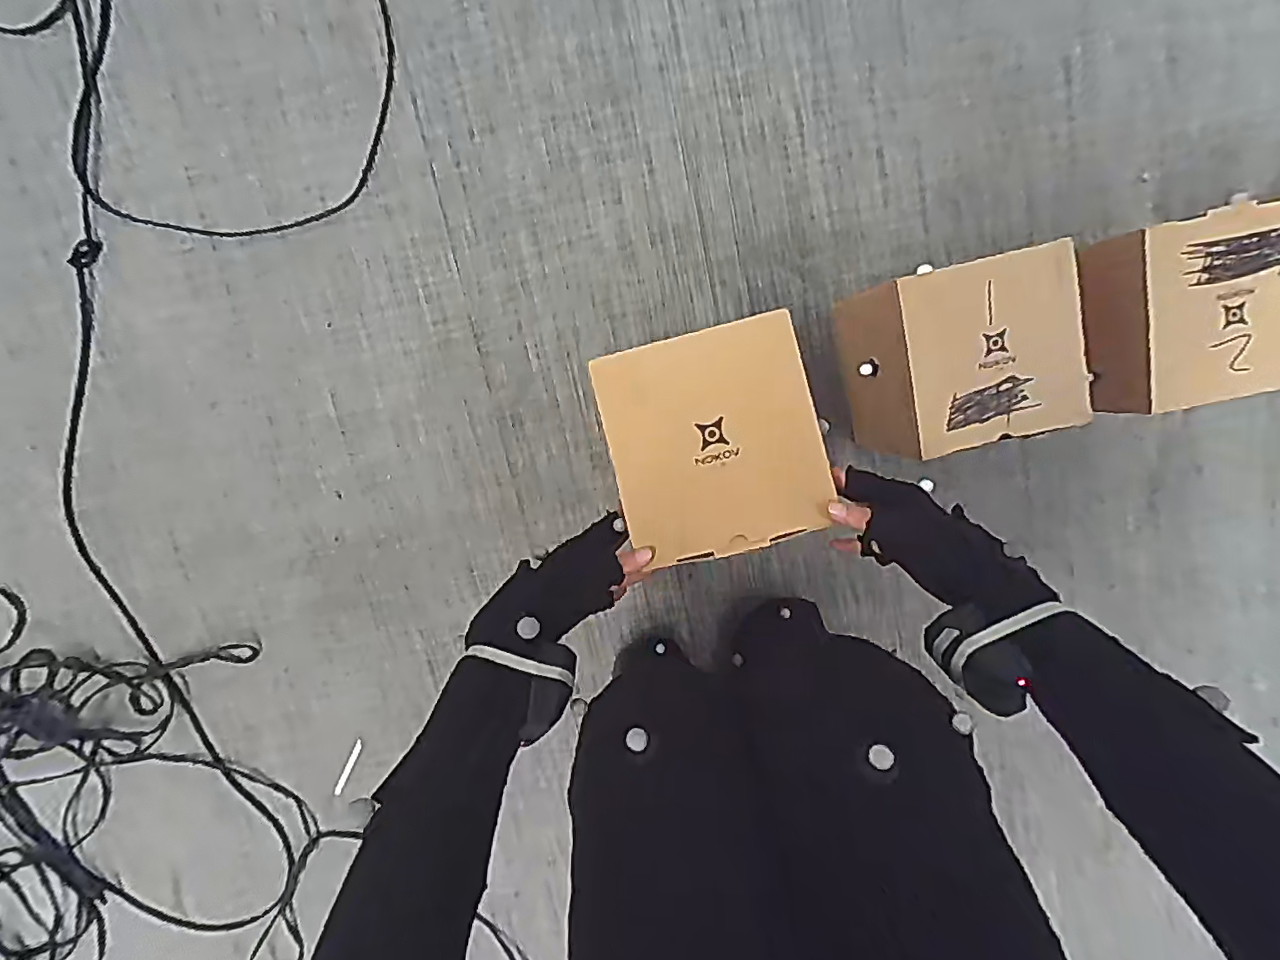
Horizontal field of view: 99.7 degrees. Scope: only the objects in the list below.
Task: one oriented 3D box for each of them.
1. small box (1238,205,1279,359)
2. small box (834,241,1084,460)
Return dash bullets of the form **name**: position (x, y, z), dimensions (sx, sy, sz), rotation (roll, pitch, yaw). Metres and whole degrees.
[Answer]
- **small box**: position (0.798, -0.228, 0.568), dimensions (0.168, 0.176, 0.179), rotation (-11, 99, 2)
- **small box**: position (0.327, -0.130, 0.585), dimensions (0.168, 0.176, 0.179), rotation (-12, 97, 3)
